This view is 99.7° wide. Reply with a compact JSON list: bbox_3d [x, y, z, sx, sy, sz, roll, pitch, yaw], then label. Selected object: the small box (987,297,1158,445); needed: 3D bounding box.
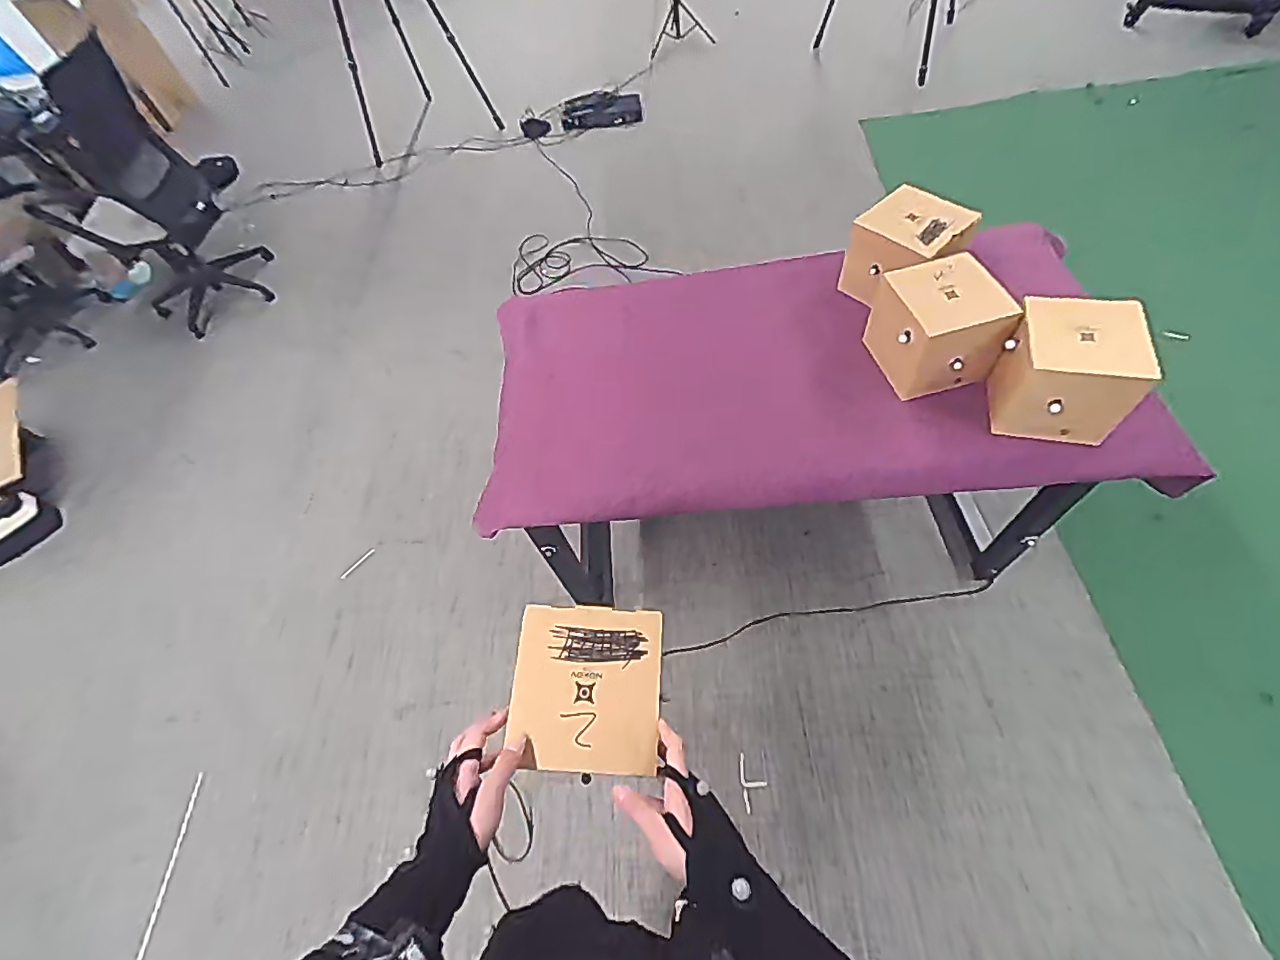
[{"bbox_3d":[0.707,-0.180,0.909,0.168,0.176,0.179,9,58,15],"label":"small box"}]
